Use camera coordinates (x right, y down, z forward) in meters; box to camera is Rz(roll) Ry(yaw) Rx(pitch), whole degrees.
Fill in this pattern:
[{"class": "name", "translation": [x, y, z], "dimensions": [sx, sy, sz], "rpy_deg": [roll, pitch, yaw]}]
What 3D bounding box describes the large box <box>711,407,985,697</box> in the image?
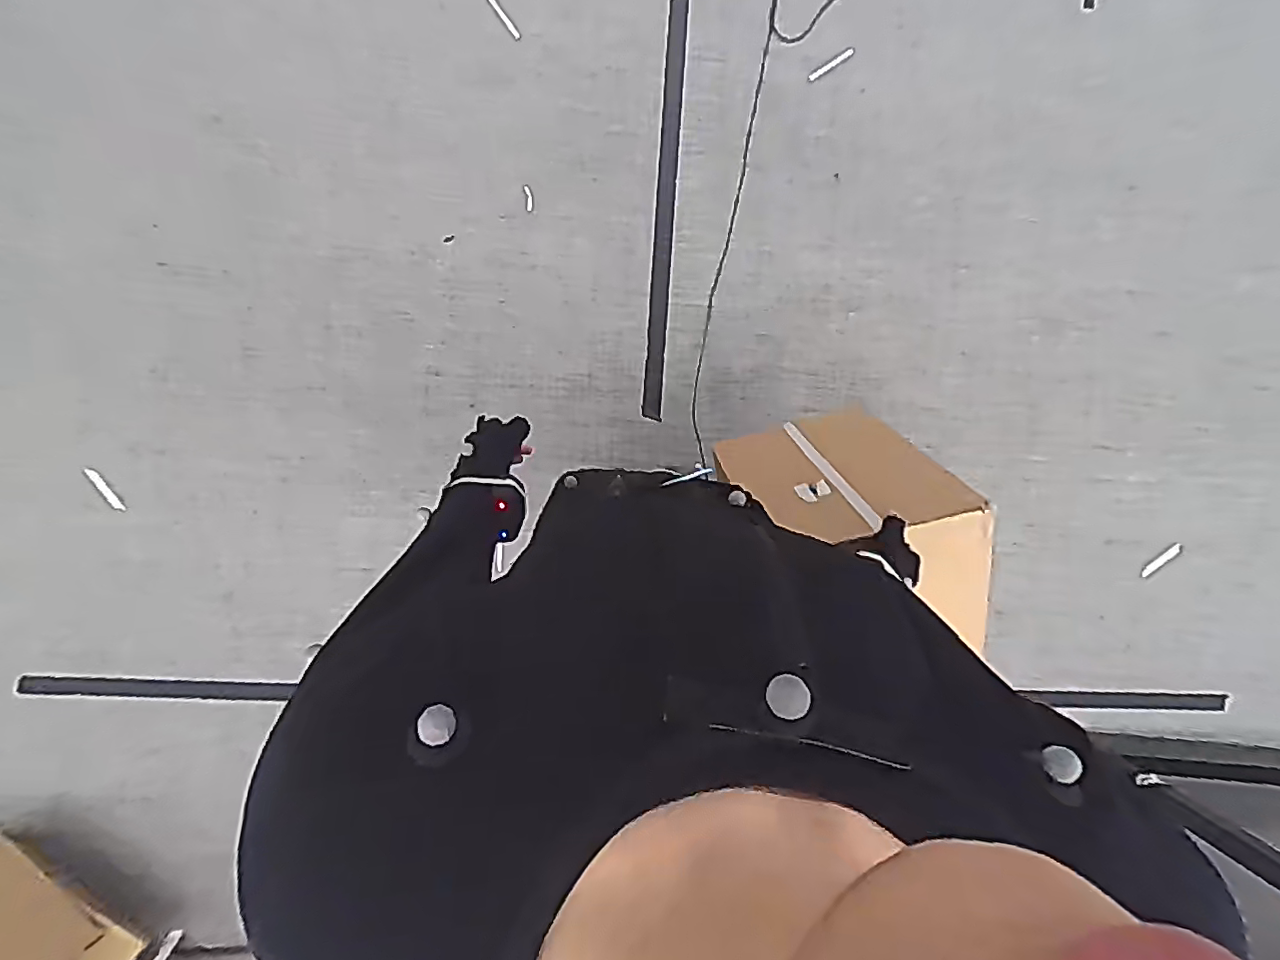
[{"class": "large box", "translation": [0.341, 0.107, 0.988], "dimensions": [0.320, 0.408, 0.320], "rpy_deg": [-15, 118, 2]}]
